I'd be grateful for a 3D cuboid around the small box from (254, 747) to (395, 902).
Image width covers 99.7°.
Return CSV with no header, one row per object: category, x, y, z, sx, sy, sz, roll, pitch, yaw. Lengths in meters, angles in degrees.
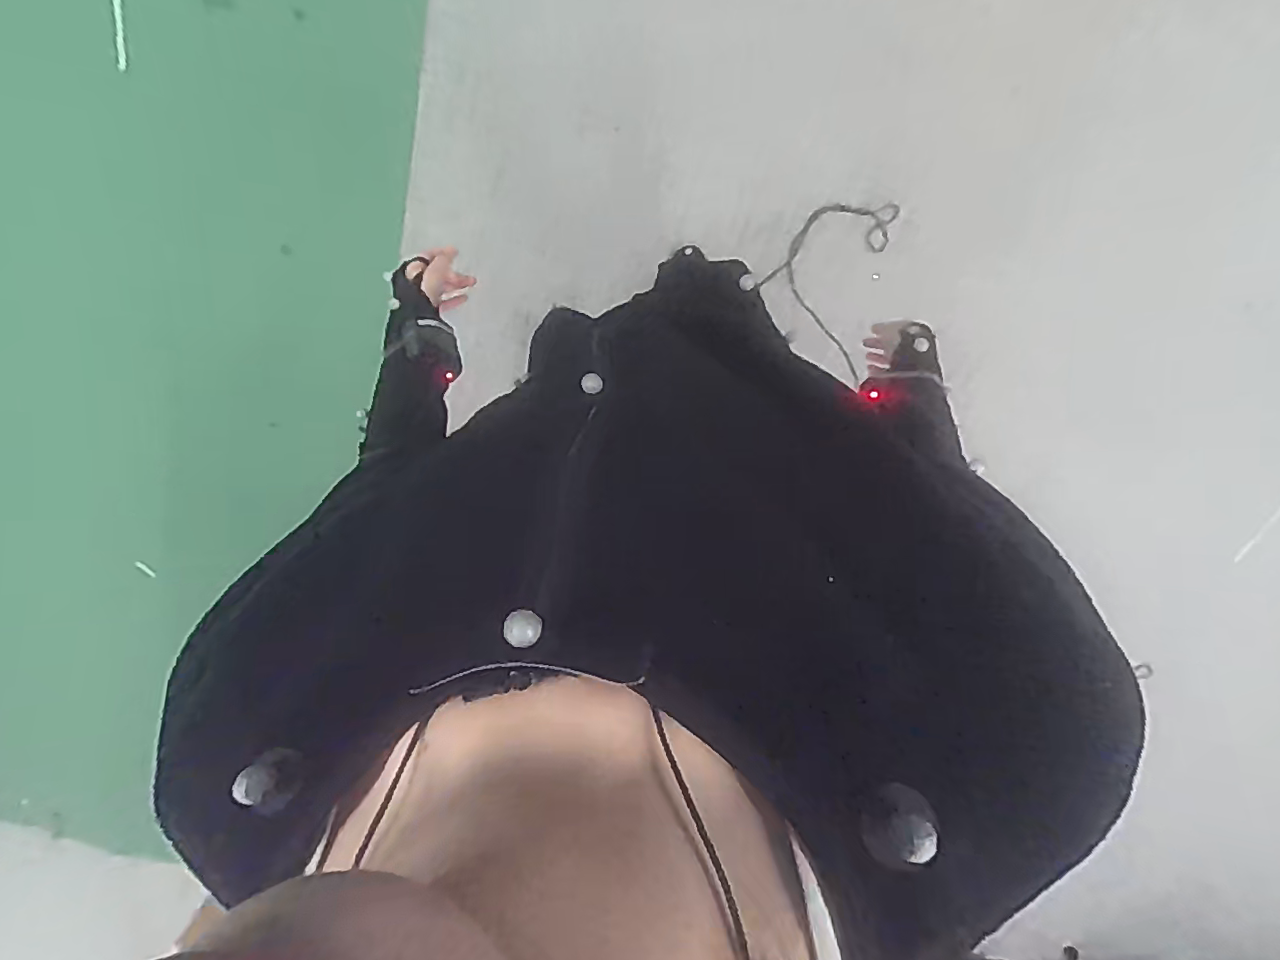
small box,-0.586,0.644,1.021,0.168,0.176,0.179,20,115,-7
